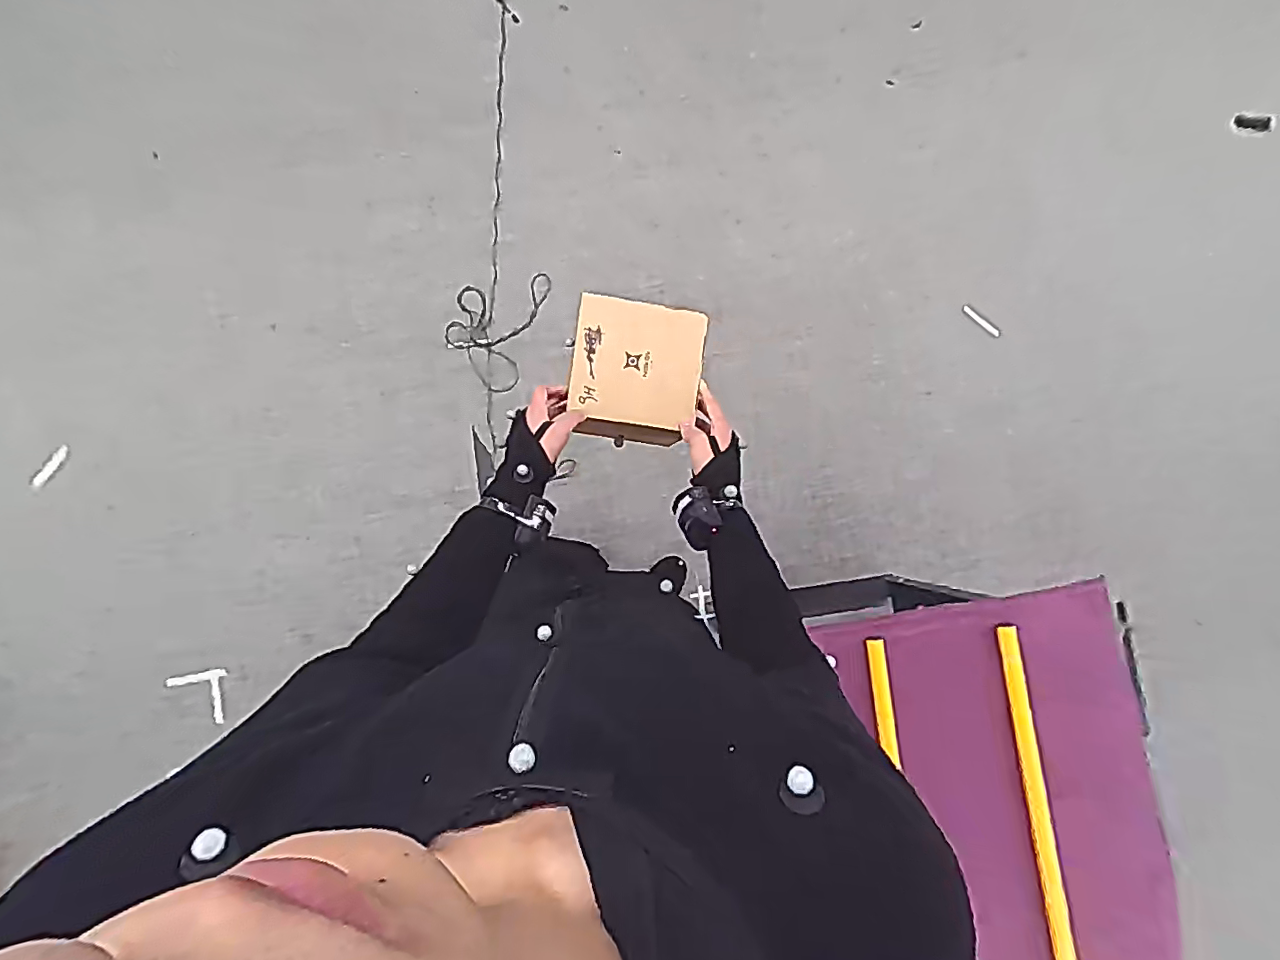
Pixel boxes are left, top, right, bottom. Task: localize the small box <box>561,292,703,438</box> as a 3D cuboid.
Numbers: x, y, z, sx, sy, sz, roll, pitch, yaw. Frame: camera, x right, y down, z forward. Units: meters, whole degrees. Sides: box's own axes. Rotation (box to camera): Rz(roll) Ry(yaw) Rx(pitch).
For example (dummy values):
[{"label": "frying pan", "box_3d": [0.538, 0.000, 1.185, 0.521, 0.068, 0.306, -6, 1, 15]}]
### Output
[{"label": "small box", "box_3d": [-0.020, -0.159, 0.812, 0.179, 0.176, 0.168, 8, 87, -9]}]
